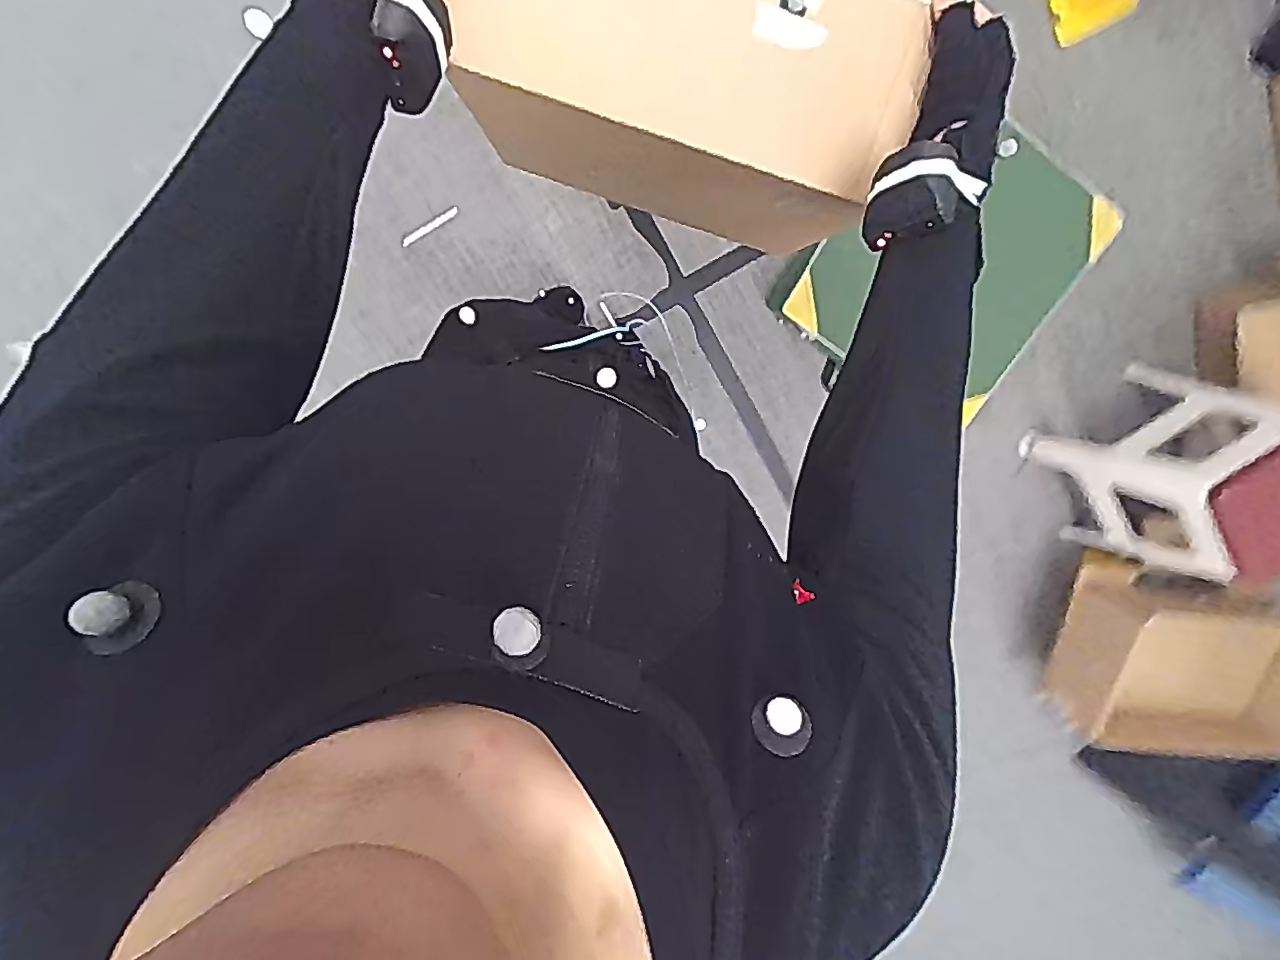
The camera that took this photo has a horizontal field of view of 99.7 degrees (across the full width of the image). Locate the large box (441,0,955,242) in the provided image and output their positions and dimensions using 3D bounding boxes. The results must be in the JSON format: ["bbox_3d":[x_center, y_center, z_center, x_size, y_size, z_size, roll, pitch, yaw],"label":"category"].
[{"bbox_3d":[0.057,-0.478,0.561,0.408,0.320,0.320,14,106,-7],"label":"large box"}]
